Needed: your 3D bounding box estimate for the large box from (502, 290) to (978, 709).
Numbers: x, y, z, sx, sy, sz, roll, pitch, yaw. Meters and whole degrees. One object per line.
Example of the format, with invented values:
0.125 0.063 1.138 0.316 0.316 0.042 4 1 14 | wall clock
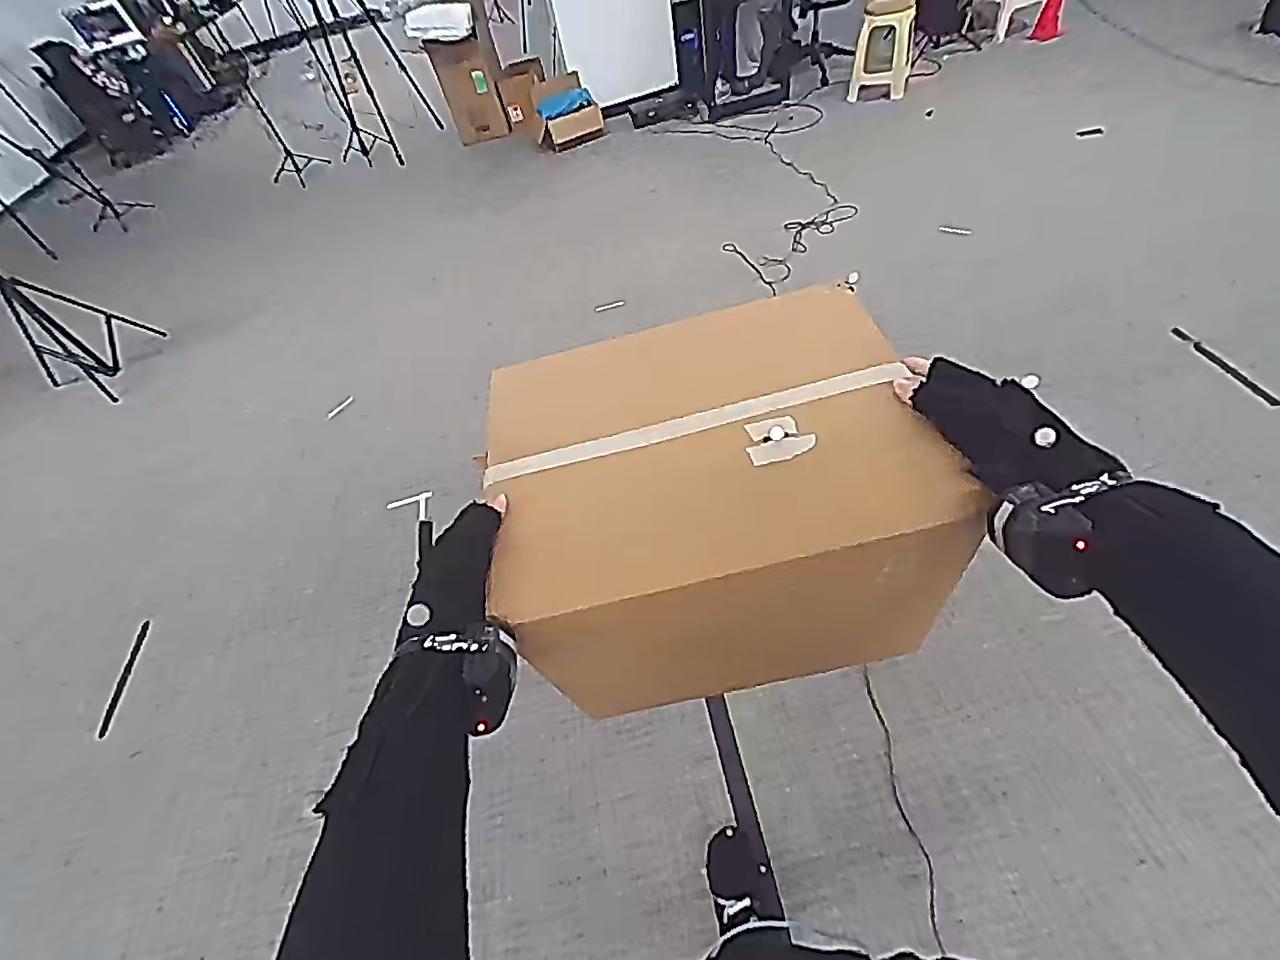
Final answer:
0.082 0.038 0.644 0.408 0.320 0.320 -14 53 3 | large box
